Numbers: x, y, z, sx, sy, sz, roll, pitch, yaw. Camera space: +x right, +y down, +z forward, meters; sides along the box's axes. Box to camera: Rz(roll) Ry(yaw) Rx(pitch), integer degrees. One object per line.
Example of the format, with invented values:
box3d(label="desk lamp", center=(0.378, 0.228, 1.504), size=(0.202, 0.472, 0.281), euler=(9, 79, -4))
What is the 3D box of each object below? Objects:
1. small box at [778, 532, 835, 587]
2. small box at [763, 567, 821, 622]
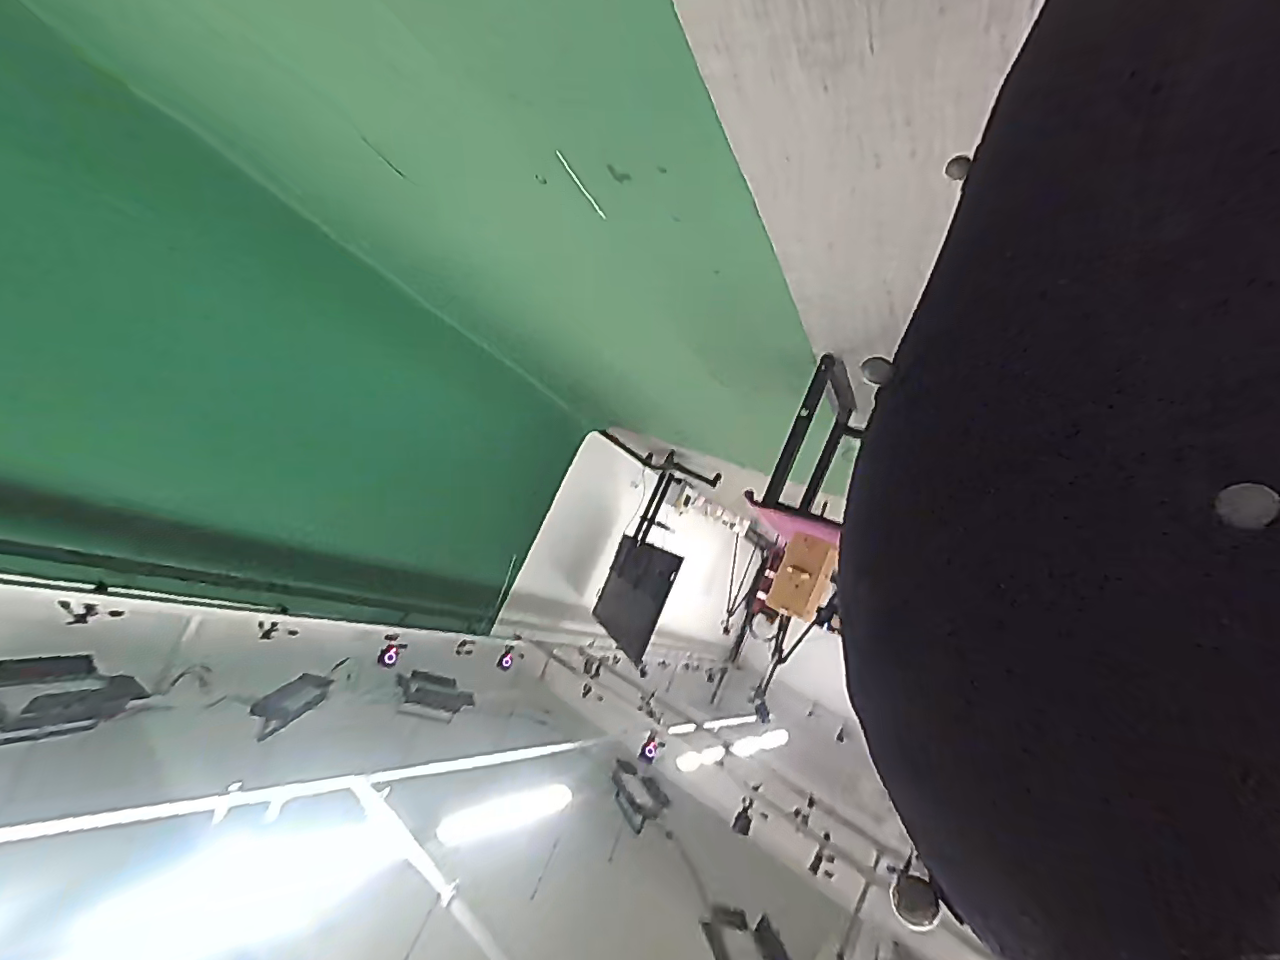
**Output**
box3d(label="small box", center=(0.722, 0.340, 2.325), size=(0.168, 0.176, 0.179), euler=(19, 171, 34))
box3d(label="small box", center=(0.656, 0.489, 2.311), size=(0.168, 0.176, 0.179), euler=(20, 171, 34))
